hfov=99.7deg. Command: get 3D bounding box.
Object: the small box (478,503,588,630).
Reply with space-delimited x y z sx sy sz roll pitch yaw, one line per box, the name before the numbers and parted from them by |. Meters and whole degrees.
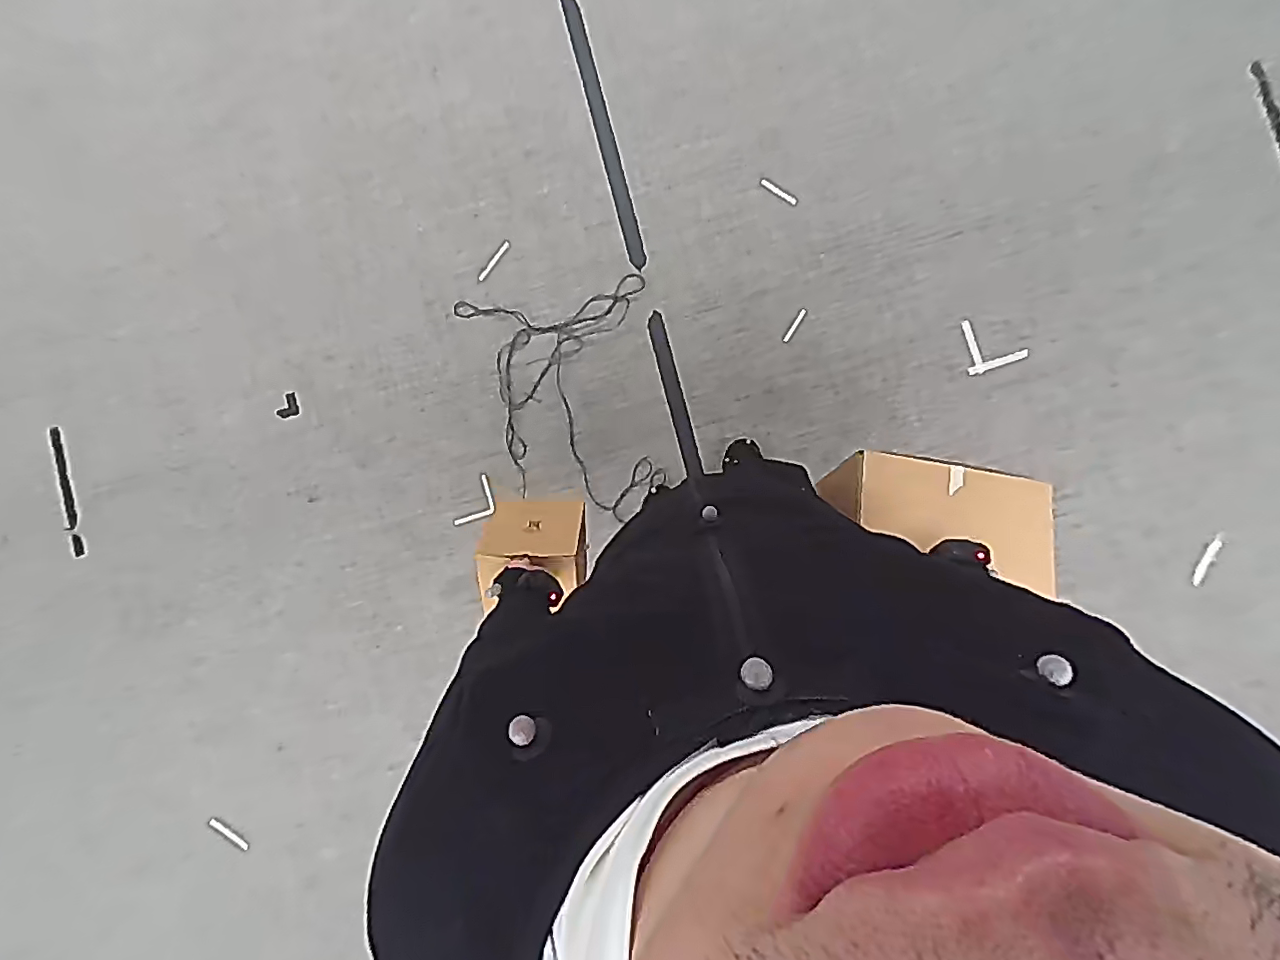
small box | -0.186 0.158 0.993 0.168 0.179 0.176 1 119 -1
